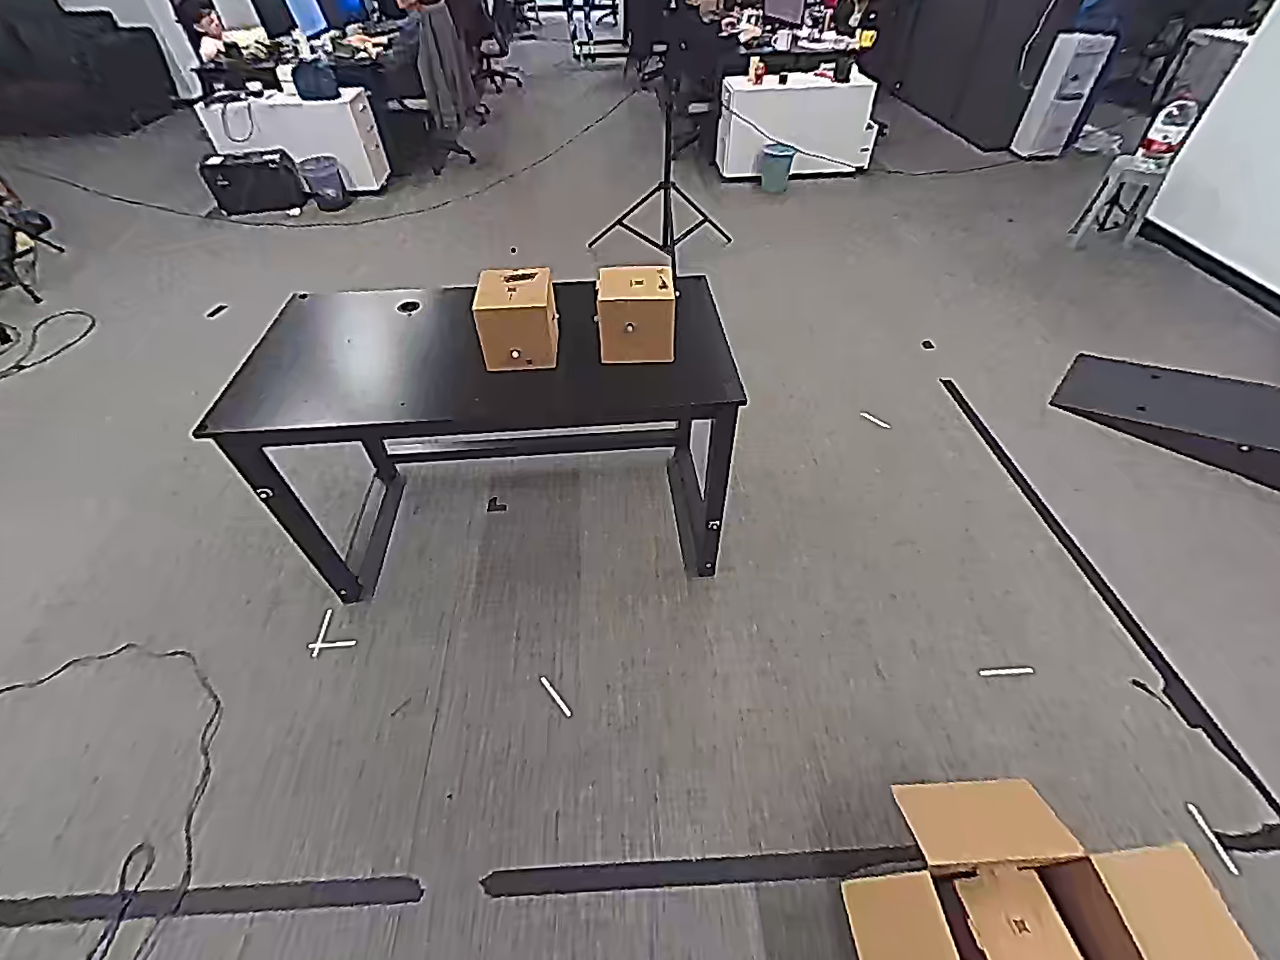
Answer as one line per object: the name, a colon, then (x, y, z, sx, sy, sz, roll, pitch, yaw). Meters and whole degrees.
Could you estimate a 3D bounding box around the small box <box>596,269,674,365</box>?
small box: (-0.010, -0.393, 1.312, 0.179, 0.176, 0.168, -2, 46, 0)

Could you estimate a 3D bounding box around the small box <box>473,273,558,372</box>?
small box: (-0.291, -0.379, 1.304, 0.168, 0.176, 0.179, -4, 47, -2)
